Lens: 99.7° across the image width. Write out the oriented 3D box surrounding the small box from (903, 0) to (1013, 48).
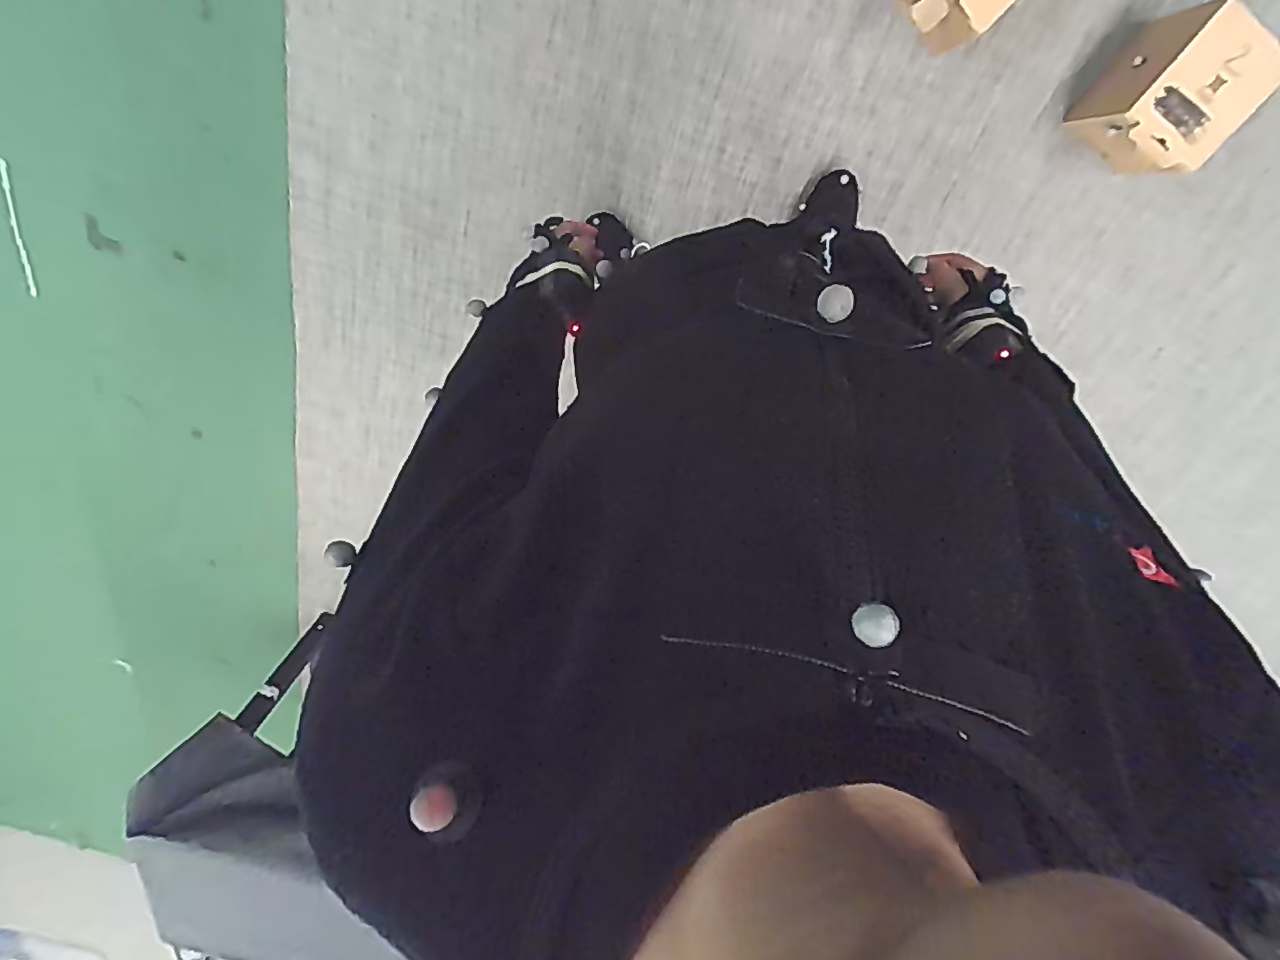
[{"bbox_3d":[0.530,-0.832,0.845,0.168,0.176,0.179,40,116,-17],"label":"small box"}]
